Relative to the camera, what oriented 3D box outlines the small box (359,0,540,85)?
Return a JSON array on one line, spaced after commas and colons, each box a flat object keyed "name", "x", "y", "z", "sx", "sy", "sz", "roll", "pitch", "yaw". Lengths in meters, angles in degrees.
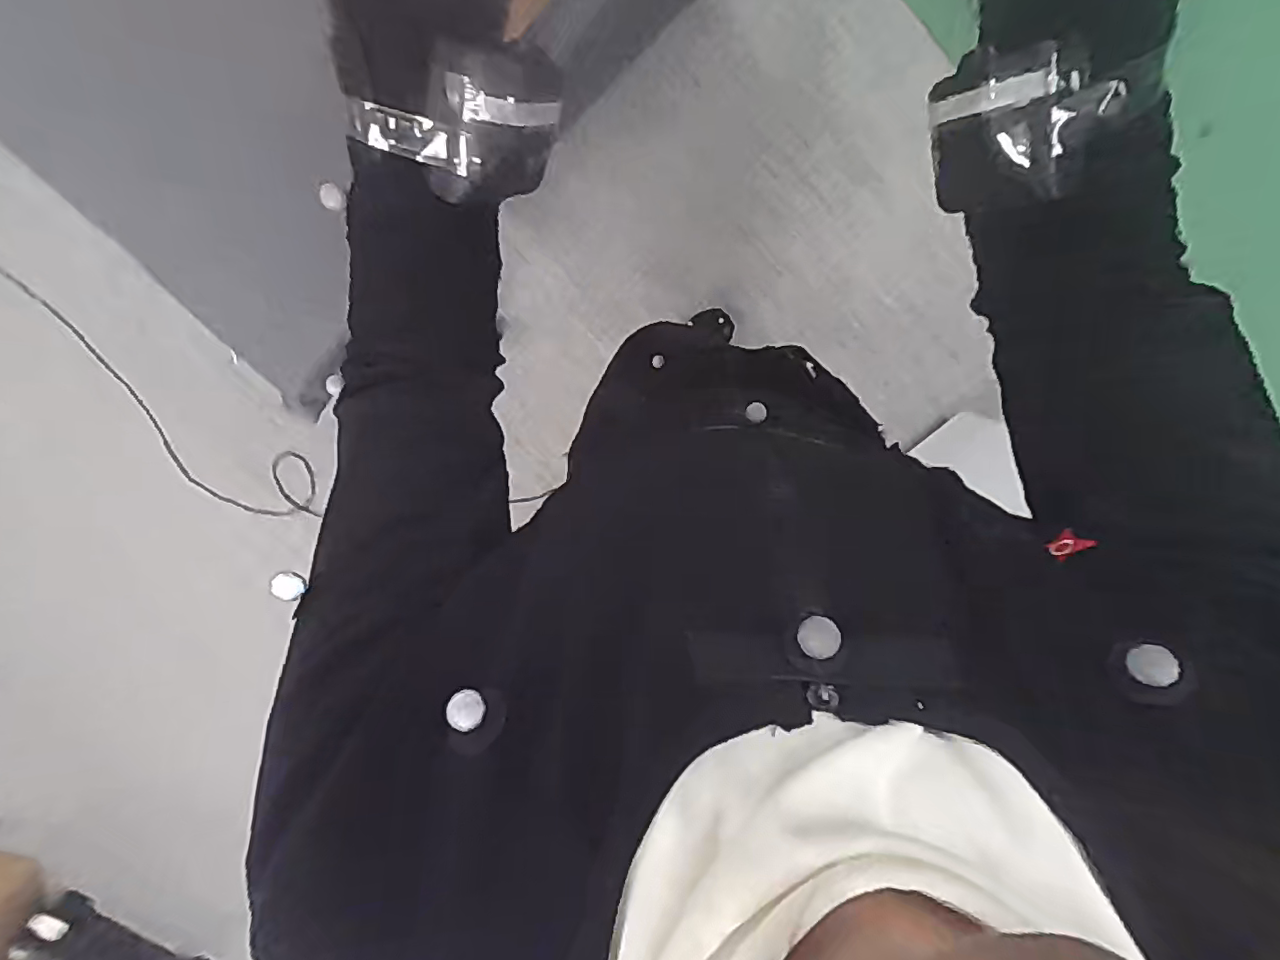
[{"name": "small box", "x": -0.194, "y": -0.513, "z": 0.484, "sx": 0.179, "sy": 0.176, "sz": 0.168, "roll": -39, "pitch": 98, "yaw": 15}]
